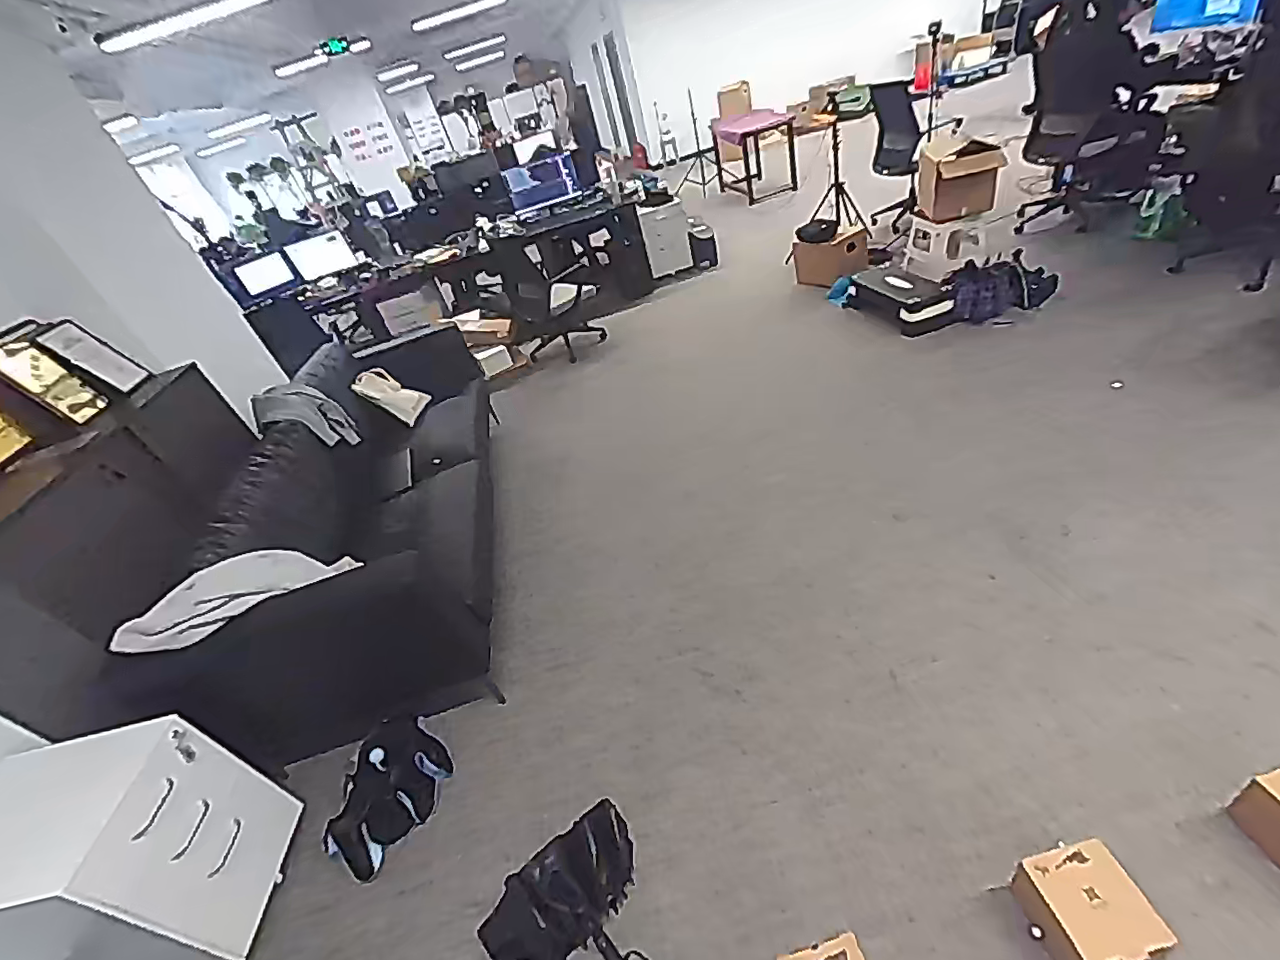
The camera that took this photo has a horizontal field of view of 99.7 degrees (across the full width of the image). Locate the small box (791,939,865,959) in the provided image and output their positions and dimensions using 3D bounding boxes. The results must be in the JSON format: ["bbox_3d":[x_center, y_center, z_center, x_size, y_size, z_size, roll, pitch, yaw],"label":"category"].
[{"bbox_3d":[0.389,1.047,1.051,0.168,0.176,0.179,-19,36,0],"label":"small box"}]

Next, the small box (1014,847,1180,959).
[{"bbox_3d":[0.880,0.868,1.063,0.168,0.176,0.179,-18,36,2],"label":"small box"}]

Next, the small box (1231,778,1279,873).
[{"bbox_3d":[1.352,0.702,1.064,0.168,0.176,0.179,-18,34,1],"label":"small box"}]
